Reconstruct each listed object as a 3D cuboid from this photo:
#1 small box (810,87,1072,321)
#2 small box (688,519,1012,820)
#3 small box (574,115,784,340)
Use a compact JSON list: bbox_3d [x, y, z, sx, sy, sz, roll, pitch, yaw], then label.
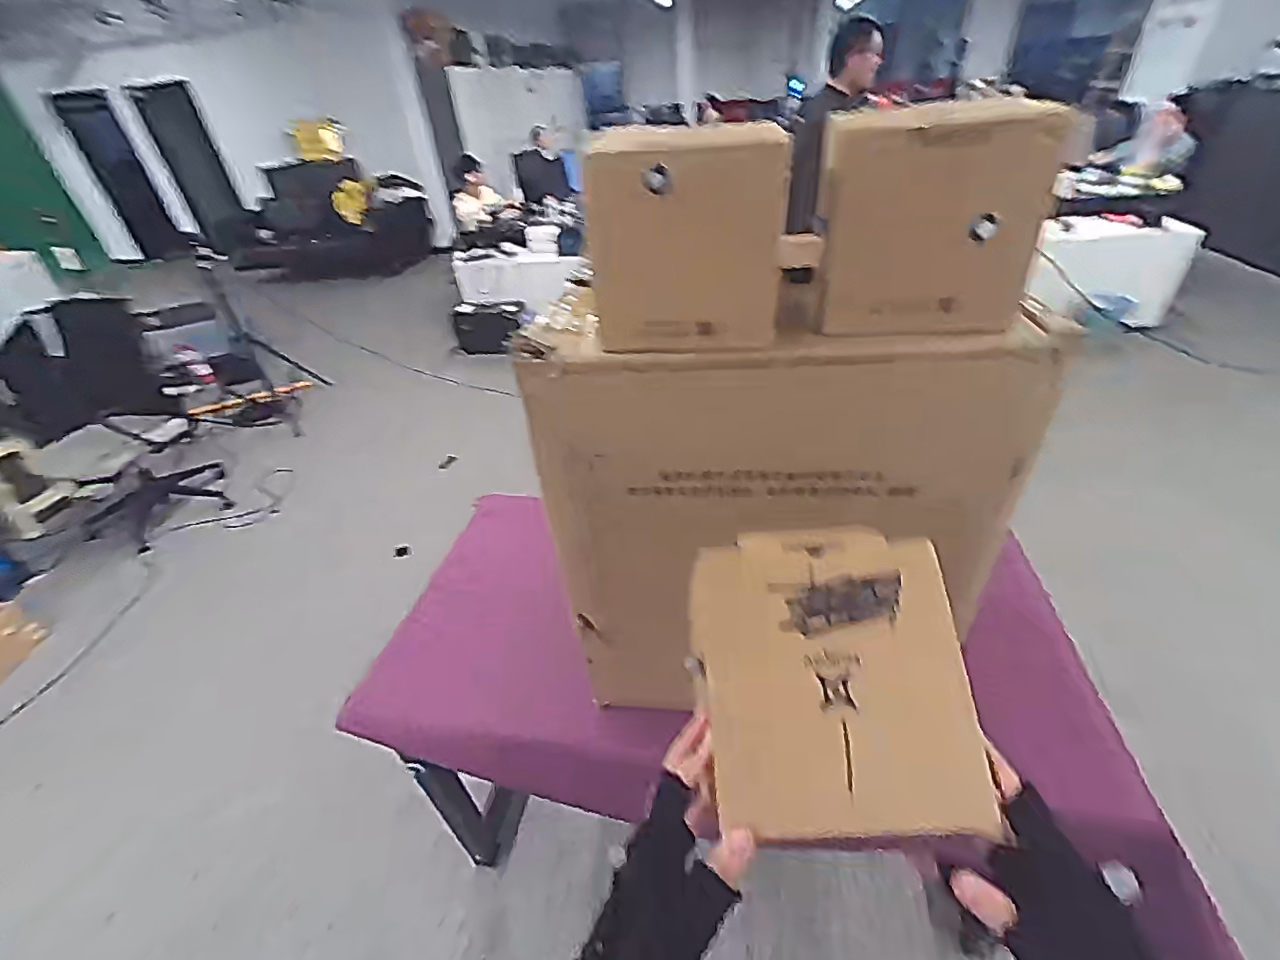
[{"bbox_3d":[0.256,-0.257,0.512,0.168,0.176,0.179,3,36,12],"label":"small box"},{"bbox_3d":[0.128,0.140,0.412,0.168,0.176,0.179,-3,68,1],"label":"small box"},{"bbox_3d":[0.044,-0.245,0.523,0.168,0.176,0.179,1,35,9],"label":"small box"}]
